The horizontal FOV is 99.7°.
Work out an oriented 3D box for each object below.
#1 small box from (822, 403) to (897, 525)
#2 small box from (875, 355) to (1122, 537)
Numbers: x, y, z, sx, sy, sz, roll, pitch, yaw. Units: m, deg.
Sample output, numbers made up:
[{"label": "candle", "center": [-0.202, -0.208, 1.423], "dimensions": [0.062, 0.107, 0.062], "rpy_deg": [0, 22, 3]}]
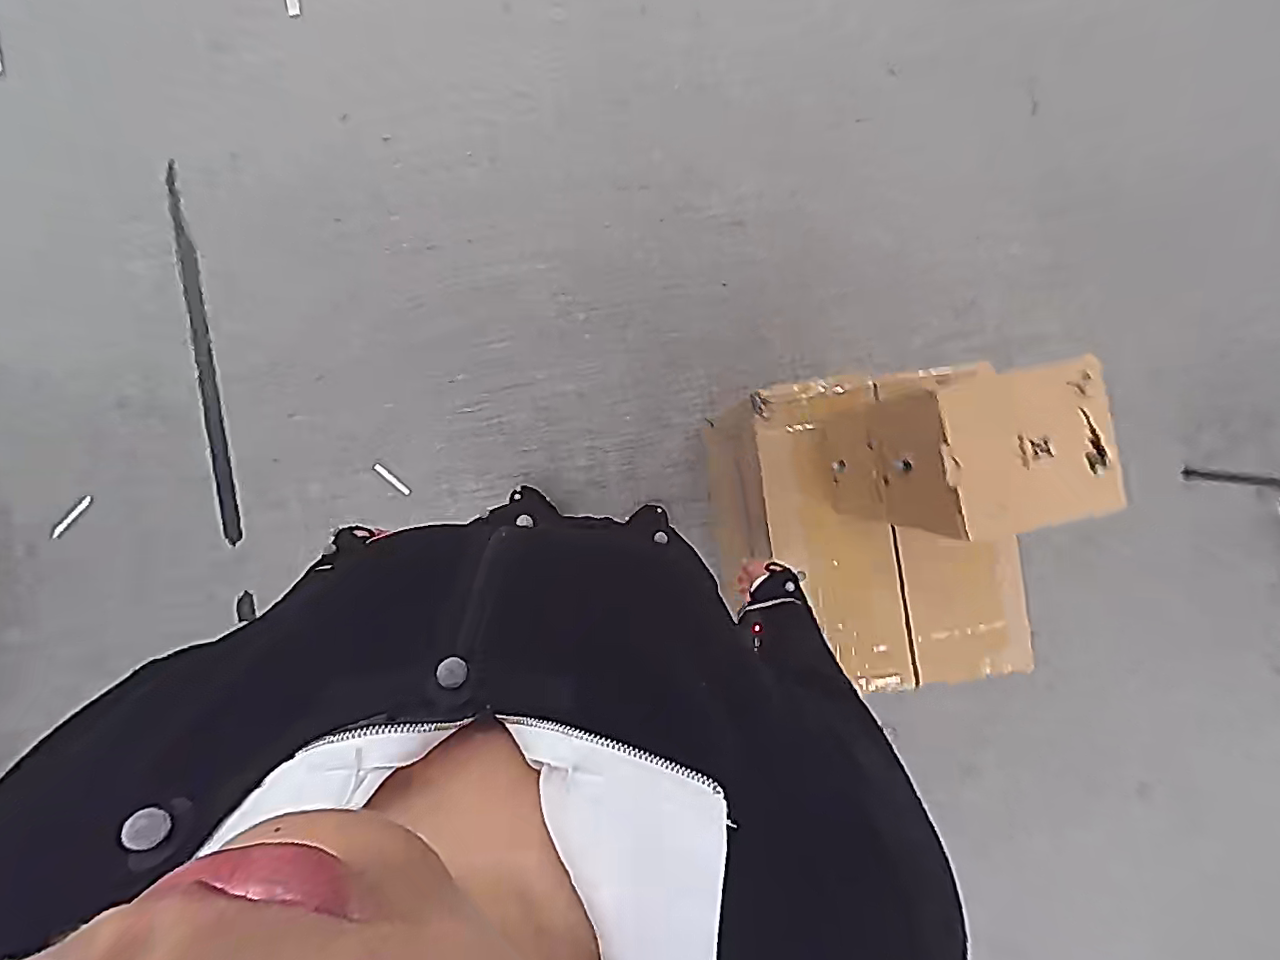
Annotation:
[{"label": "small box", "center": [0.395, -0.034, 0.804], "dimensions": [0.179, 0.176, 0.168], "rpy_deg": [-10, 91, -1]}, {"label": "small box", "center": [0.399, -0.035, 0.640], "dimensions": [0.179, 0.176, 0.168], "rpy_deg": [-11, 91, 0]}]
